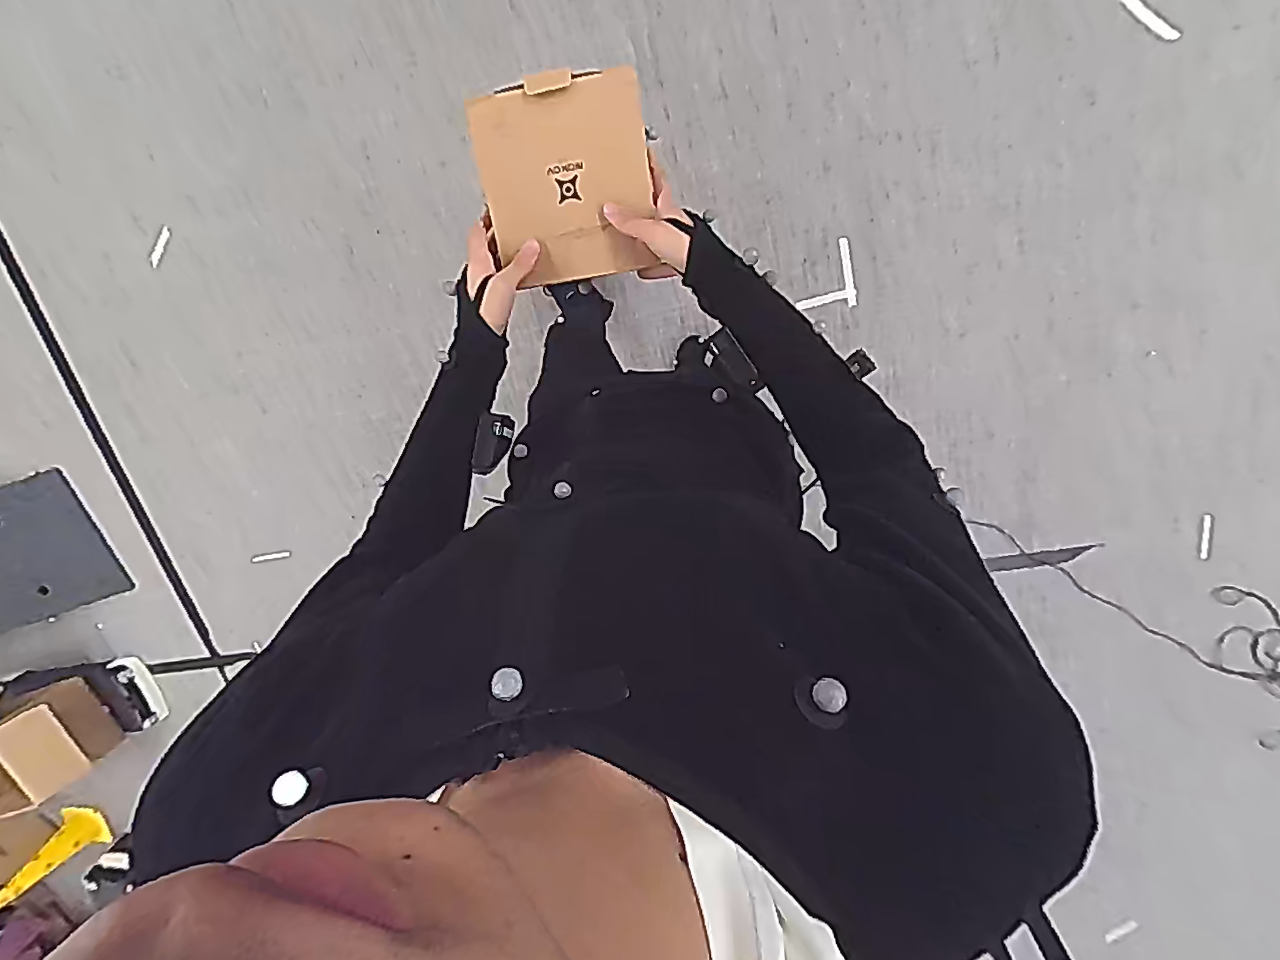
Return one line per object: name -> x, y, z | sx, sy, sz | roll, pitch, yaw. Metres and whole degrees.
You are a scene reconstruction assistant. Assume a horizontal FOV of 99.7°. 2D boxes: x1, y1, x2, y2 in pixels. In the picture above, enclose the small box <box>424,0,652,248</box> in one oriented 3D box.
small box -> -0.081, -0.335, 0.531 | 0.168, 0.176, 0.179 | -8, 112, 5
